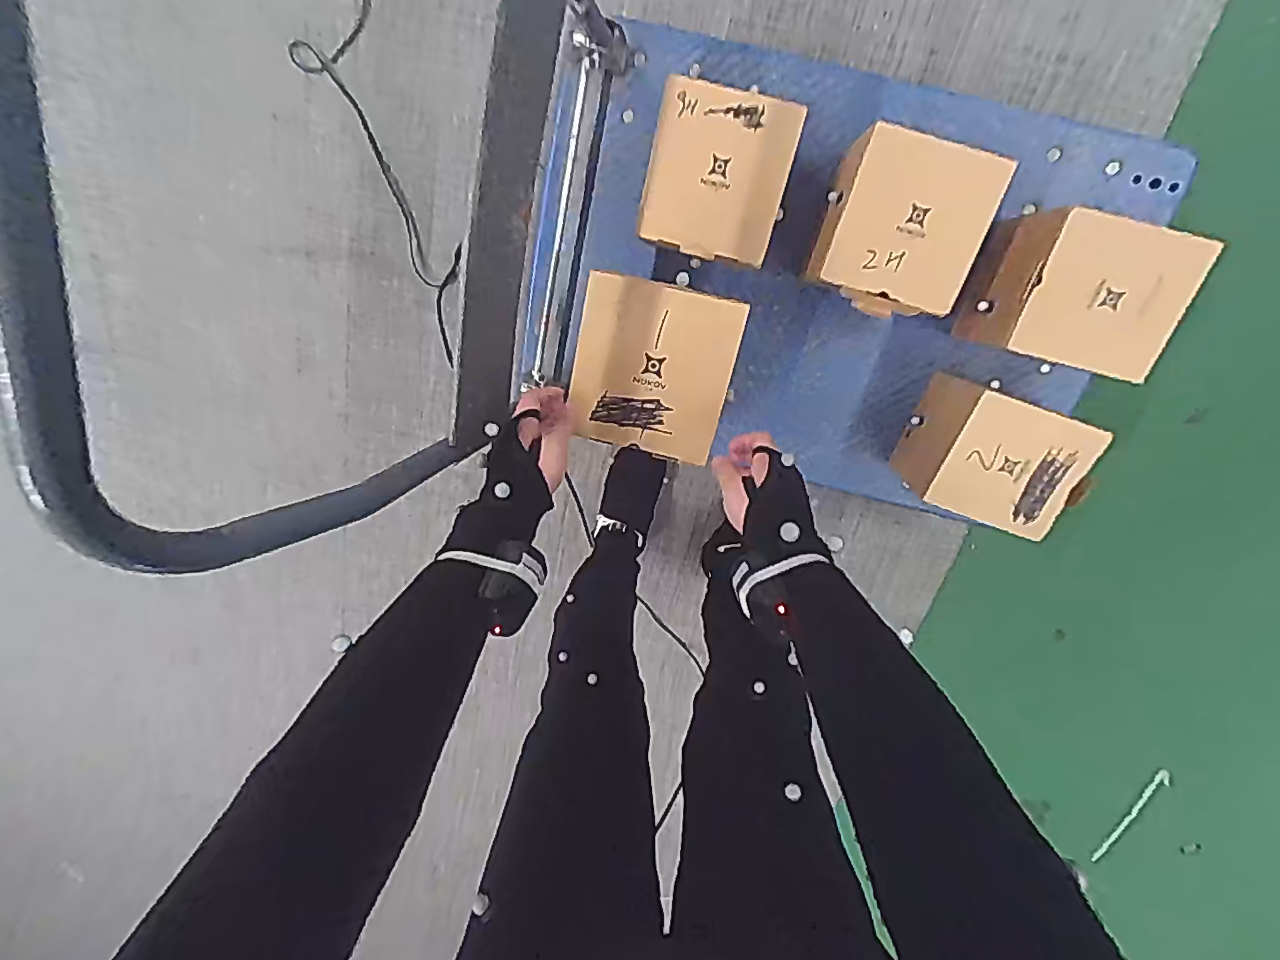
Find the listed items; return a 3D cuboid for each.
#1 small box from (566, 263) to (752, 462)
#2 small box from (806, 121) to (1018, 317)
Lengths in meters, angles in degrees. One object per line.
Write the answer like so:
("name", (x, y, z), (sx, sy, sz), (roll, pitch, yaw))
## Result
("small box", (0.025, -0.144, 0.643), (0.168, 0.176, 0.179), (15, 110, 1))
("small box", (0.334, -0.329, 0.711), (0.168, 0.176, 0.179), (18, 111, 2))
